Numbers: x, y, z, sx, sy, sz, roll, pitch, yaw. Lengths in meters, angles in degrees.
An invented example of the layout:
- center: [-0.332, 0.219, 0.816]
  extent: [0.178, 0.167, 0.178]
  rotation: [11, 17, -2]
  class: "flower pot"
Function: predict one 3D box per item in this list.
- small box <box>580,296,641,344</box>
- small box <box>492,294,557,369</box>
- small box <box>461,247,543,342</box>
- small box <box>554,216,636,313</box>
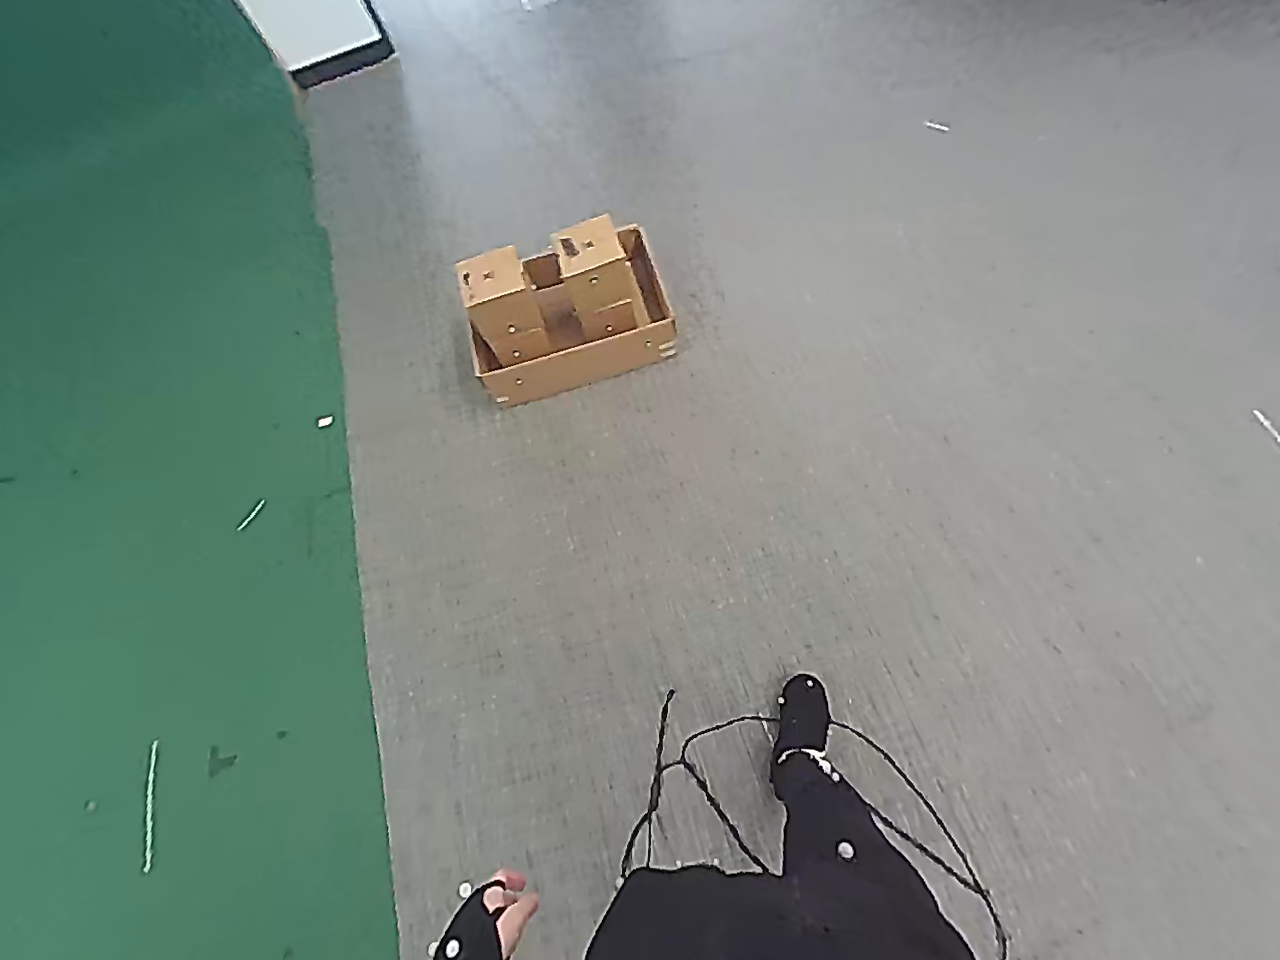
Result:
- center: [-0.101, -0.552, 1.701]
  extent: [0.168, 0.176, 0.179]
  rotation: [-15, 68, 3]
  class: "small box"
- center: [-0.371, -0.473, 1.709]
  extent: [0.168, 0.176, 0.179]
  rotation: [-16, 67, 1]
  class: "small box"
- center: [-0.389, -0.529, 1.555]
  extent: [0.179, 0.176, 0.168]
  rotation: [-17, 67, 0]
  class: "small box"
- center: [-0.124, -0.610, 1.548]
  extent: [0.179, 0.176, 0.168]
  rotation: [-19, 69, 0]
  class: "small box"
